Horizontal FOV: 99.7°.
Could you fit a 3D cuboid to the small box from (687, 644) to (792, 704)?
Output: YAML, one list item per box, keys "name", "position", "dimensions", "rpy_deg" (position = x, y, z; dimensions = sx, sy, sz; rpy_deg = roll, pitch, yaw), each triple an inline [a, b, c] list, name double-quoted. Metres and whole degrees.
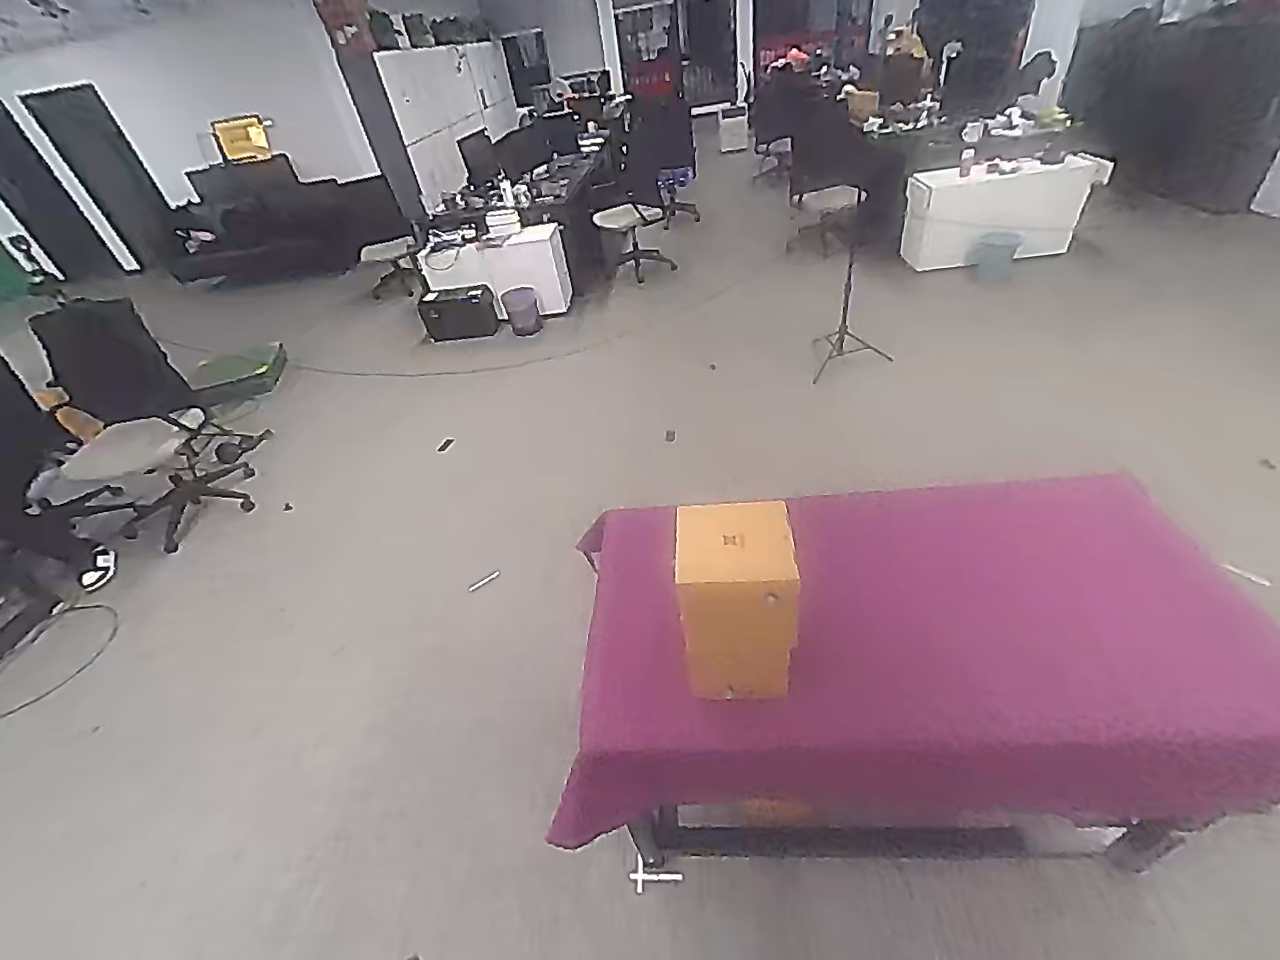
- name: "small box"
  position: [0.173, 0.275, 0.964]
  dimensions: [0.168, 0.176, 0.179]
  rpy_deg: [-5, 40, 9]

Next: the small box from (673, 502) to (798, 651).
- name: "small box"
  position: [0.151, 0.155, 0.857]
  dimensions: [0.179, 0.176, 0.168]
  rpy_deg: [-4, 40, 9]
